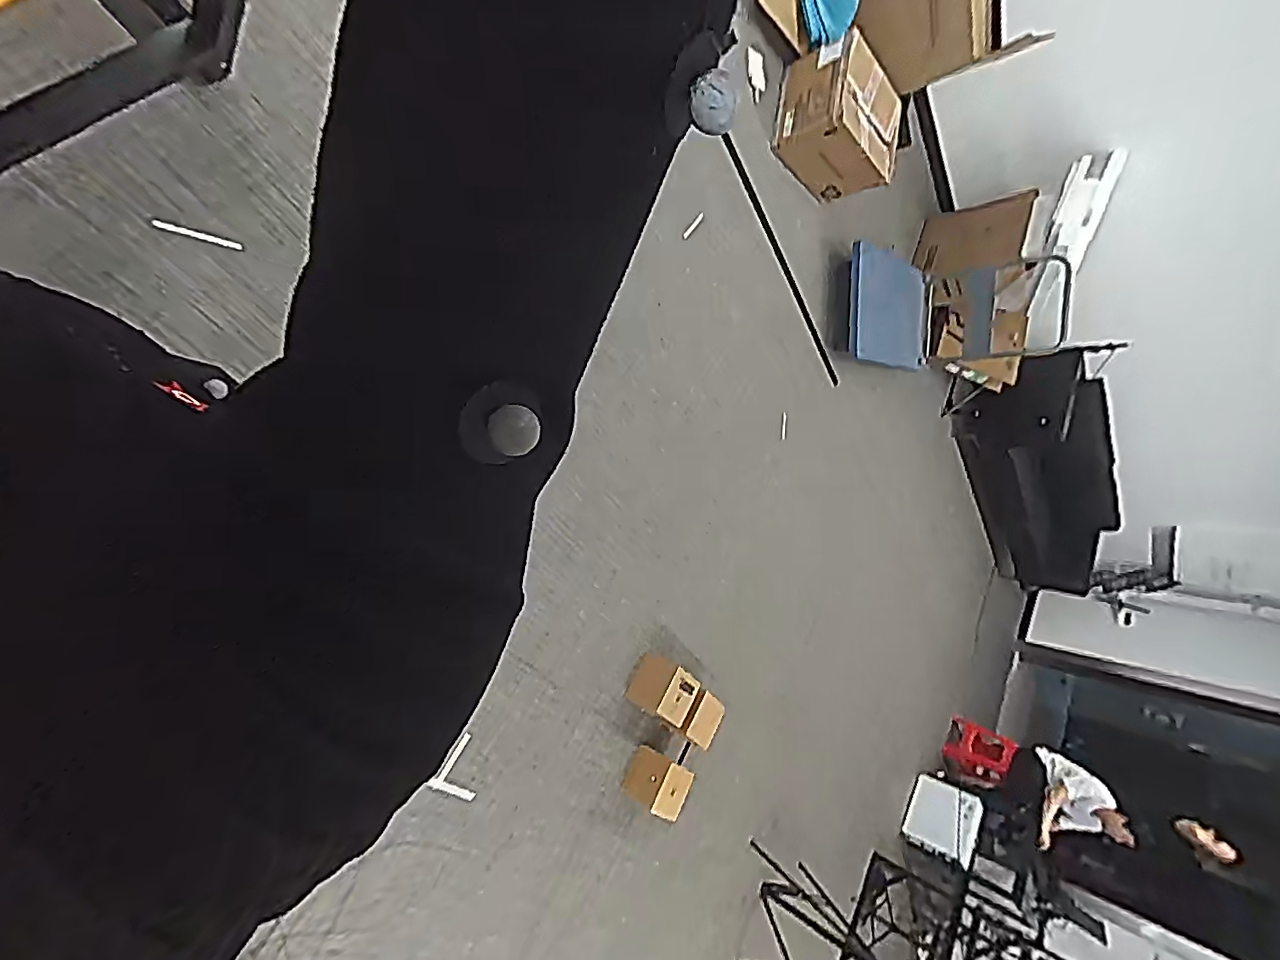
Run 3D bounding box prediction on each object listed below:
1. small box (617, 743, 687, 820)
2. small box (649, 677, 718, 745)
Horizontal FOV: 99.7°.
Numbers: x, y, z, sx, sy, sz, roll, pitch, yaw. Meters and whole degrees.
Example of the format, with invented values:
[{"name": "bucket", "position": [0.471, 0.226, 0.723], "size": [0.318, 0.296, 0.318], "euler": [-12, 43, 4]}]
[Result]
[{"name": "small box", "position": [0.039, 1.120, 2.013], "size": [0.168, 0.176, 0.179], "euler": [46, 63, -36]}, {"name": "small box", "position": [0.173, 0.909, 2.118], "size": [0.168, 0.176, 0.179], "euler": [51, 60, -34]}]
